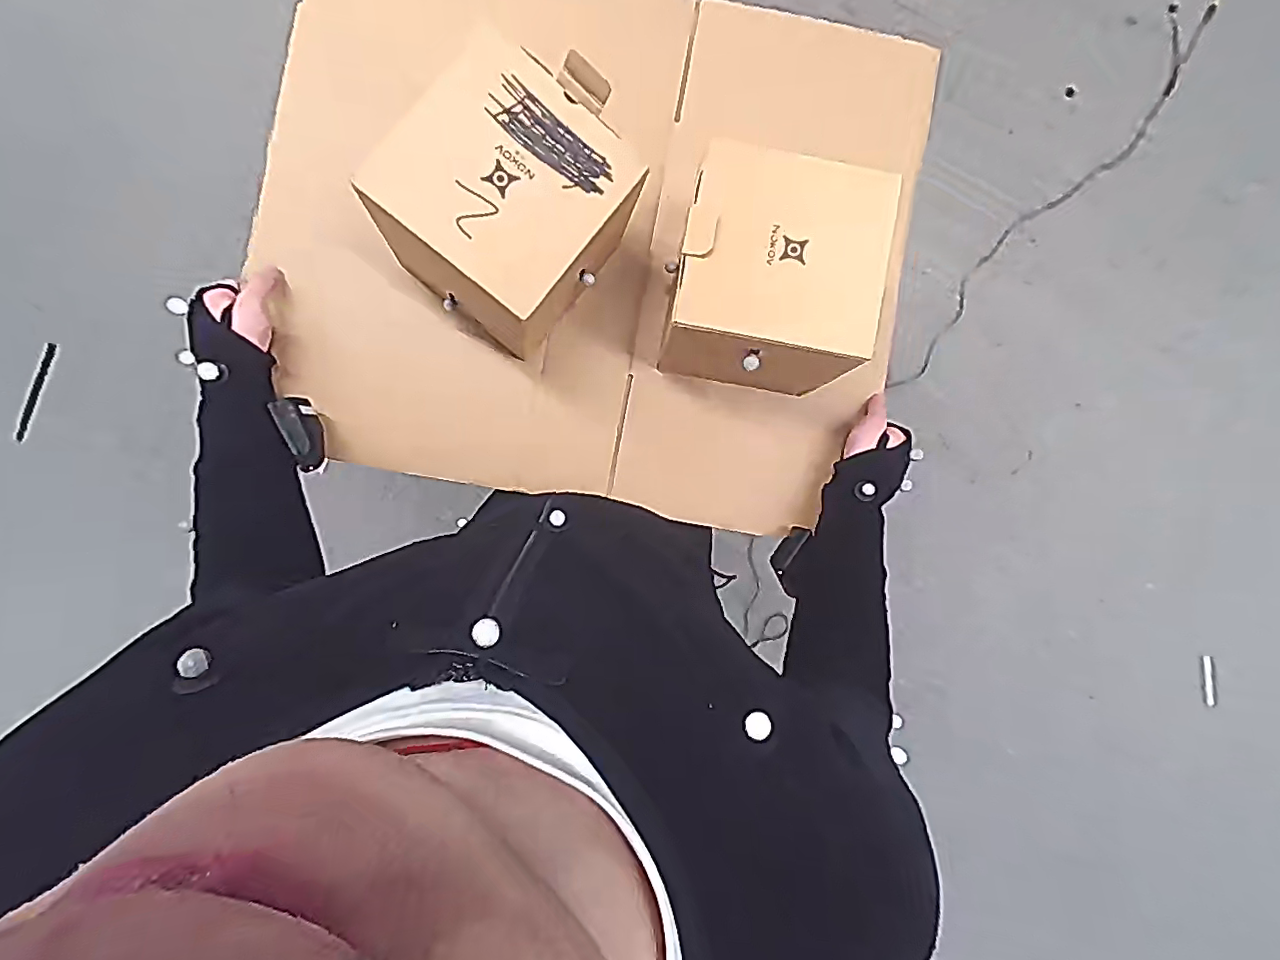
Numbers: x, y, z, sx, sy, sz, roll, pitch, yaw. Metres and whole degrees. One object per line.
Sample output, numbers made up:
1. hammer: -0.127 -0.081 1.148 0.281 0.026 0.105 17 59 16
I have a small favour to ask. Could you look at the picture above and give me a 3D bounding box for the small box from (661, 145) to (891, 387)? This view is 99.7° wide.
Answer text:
1. small box: 0.124 -0.200 0.558 0.179 0.176 0.168 10 88 -1
